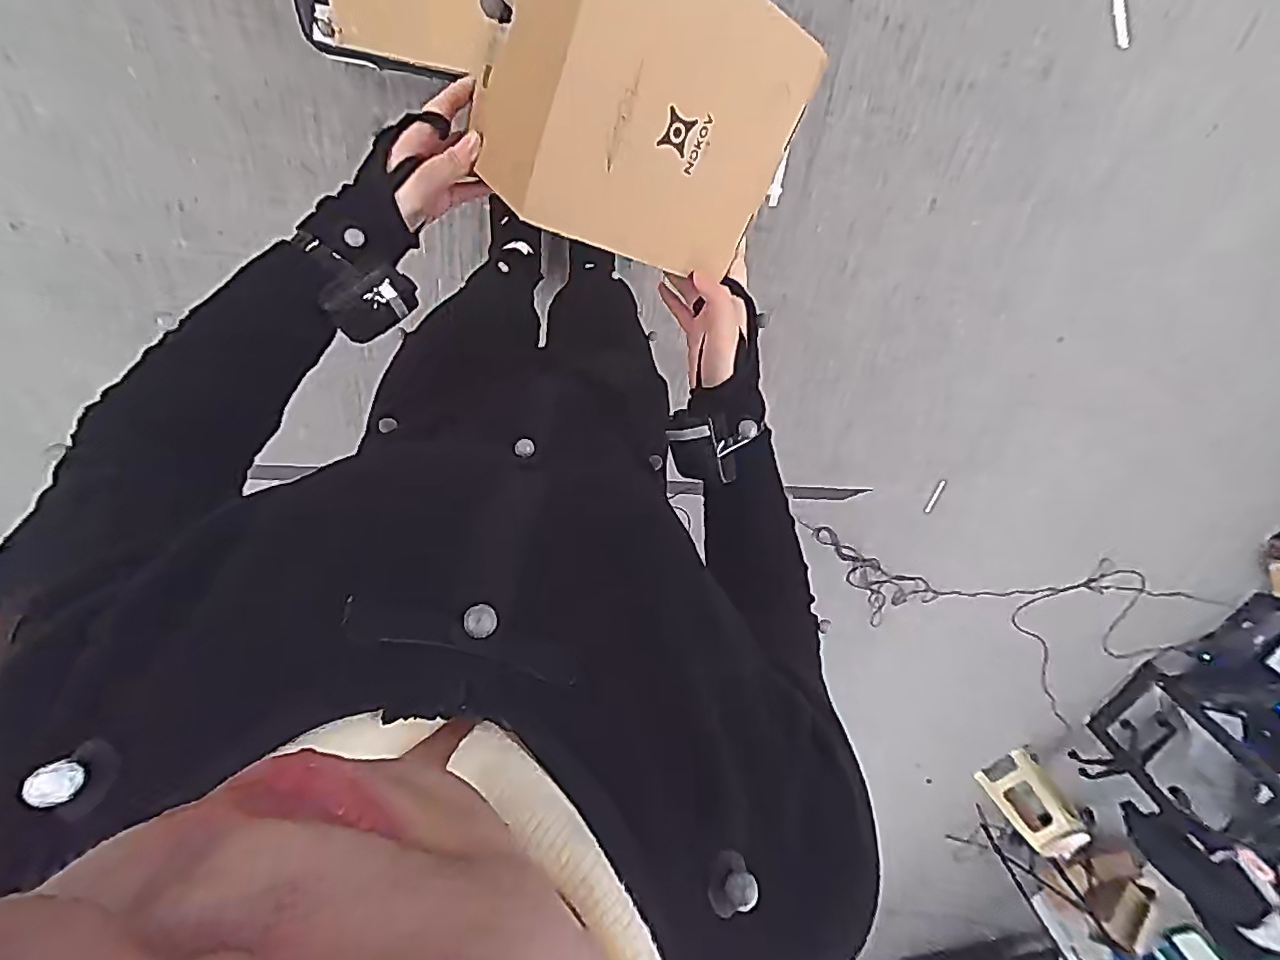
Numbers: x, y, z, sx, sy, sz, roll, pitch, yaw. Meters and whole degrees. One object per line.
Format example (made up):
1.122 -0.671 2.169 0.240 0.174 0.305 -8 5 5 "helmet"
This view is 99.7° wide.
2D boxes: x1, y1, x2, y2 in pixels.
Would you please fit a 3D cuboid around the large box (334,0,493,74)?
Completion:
-0.162 -0.724 0.724 0.408 0.320 0.320 3 123 -12 "large box"

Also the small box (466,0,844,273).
-0.003 -0.278 0.386 0.179 0.176 0.168 4 125 -36 "small box"
